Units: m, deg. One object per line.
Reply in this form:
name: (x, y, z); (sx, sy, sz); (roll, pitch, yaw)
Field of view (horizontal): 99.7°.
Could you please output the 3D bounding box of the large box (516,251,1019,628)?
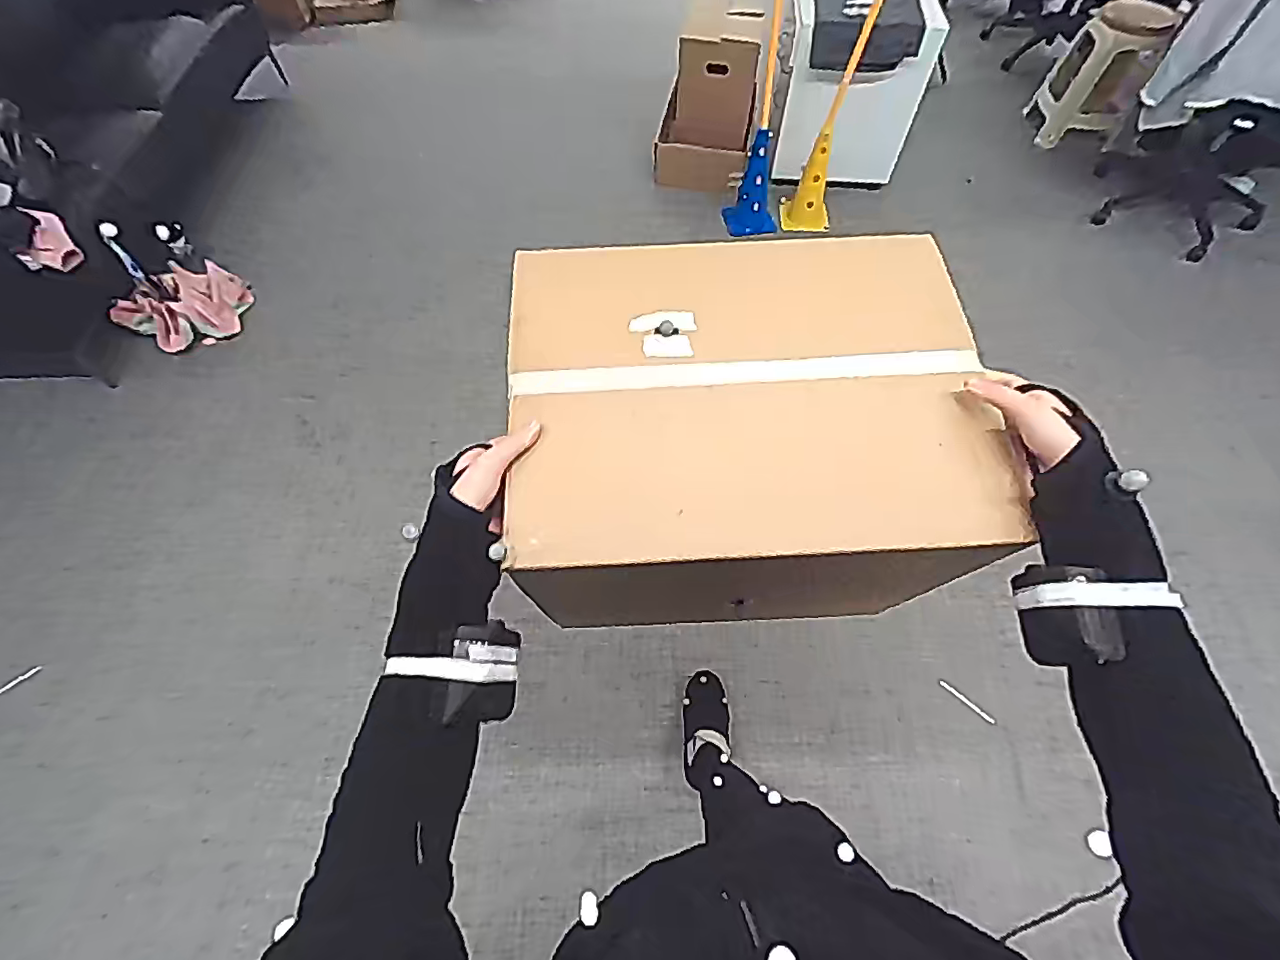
large box: (0.097, -0.018, 0.615); (0.408, 0.320, 0.320); (-3, 66, 0)
